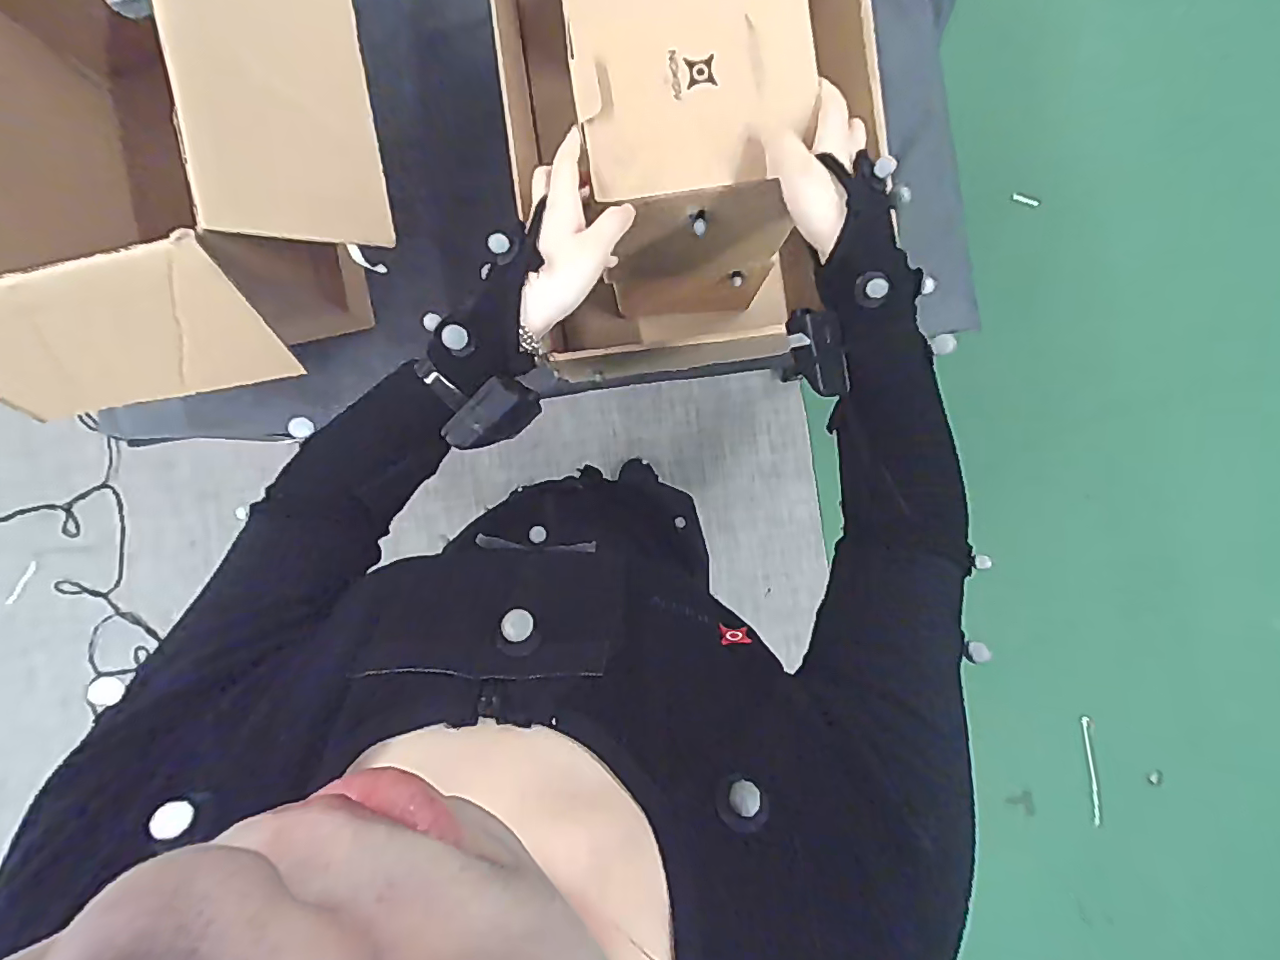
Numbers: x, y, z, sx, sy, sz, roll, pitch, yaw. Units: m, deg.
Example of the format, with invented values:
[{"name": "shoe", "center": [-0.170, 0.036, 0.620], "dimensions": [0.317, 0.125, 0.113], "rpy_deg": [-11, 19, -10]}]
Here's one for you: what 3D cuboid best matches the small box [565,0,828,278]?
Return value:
[{"name": "small box", "center": [0.041, -0.292, 0.474], "dimensions": [0.179, 0.176, 0.168], "rpy_deg": [-9, 93, -1]}]
